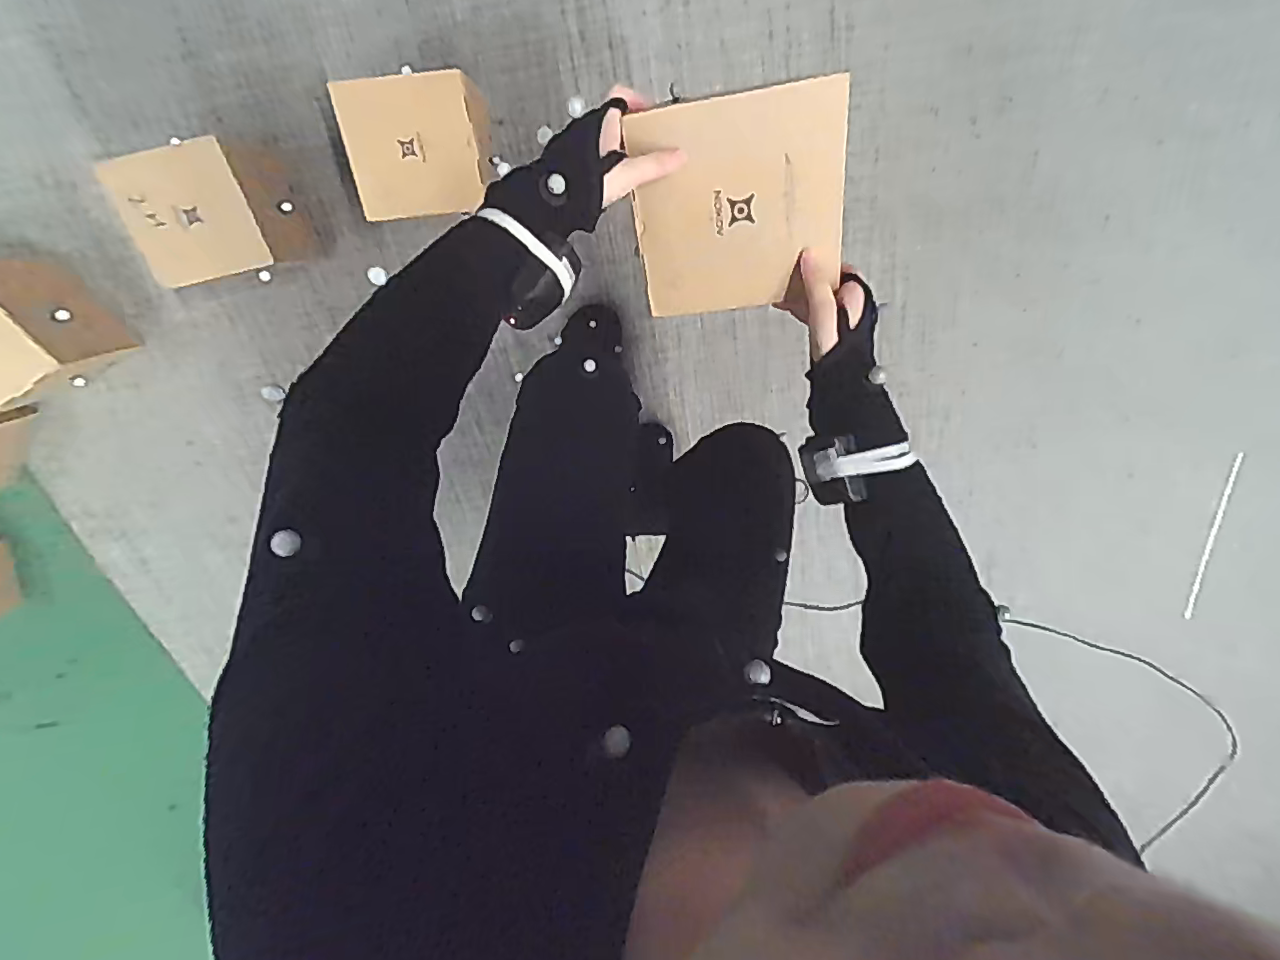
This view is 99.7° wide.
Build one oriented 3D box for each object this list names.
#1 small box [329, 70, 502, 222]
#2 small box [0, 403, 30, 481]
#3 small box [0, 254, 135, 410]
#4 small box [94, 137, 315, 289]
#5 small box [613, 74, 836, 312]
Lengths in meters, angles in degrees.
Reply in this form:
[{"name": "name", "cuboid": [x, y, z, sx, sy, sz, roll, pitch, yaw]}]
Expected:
[{"name": "small box", "cuboid": [-0.318, -0.485, 0.808, 0.179, 0.176, 0.168, -7, 115, -2]}, {"name": "small box", "cuboid": [-1.234, -0.073, 0.935, 0.168, 0.176, 0.179, 32, 108, -17]}, {"name": "small box", "cuboid": [-0.995, -0.243, 0.872, 0.168, 0.176, 0.179, -27, 115, 9]}, {"name": "small box", "cuboid": [-0.633, -0.401, 0.822, 0.179, 0.176, 0.168, -12, 115, 1]}, {"name": "small box", "cuboid": [0.083, -0.280, 0.531, 0.179, 0.176, 0.168, -4, 125, 10]}]
